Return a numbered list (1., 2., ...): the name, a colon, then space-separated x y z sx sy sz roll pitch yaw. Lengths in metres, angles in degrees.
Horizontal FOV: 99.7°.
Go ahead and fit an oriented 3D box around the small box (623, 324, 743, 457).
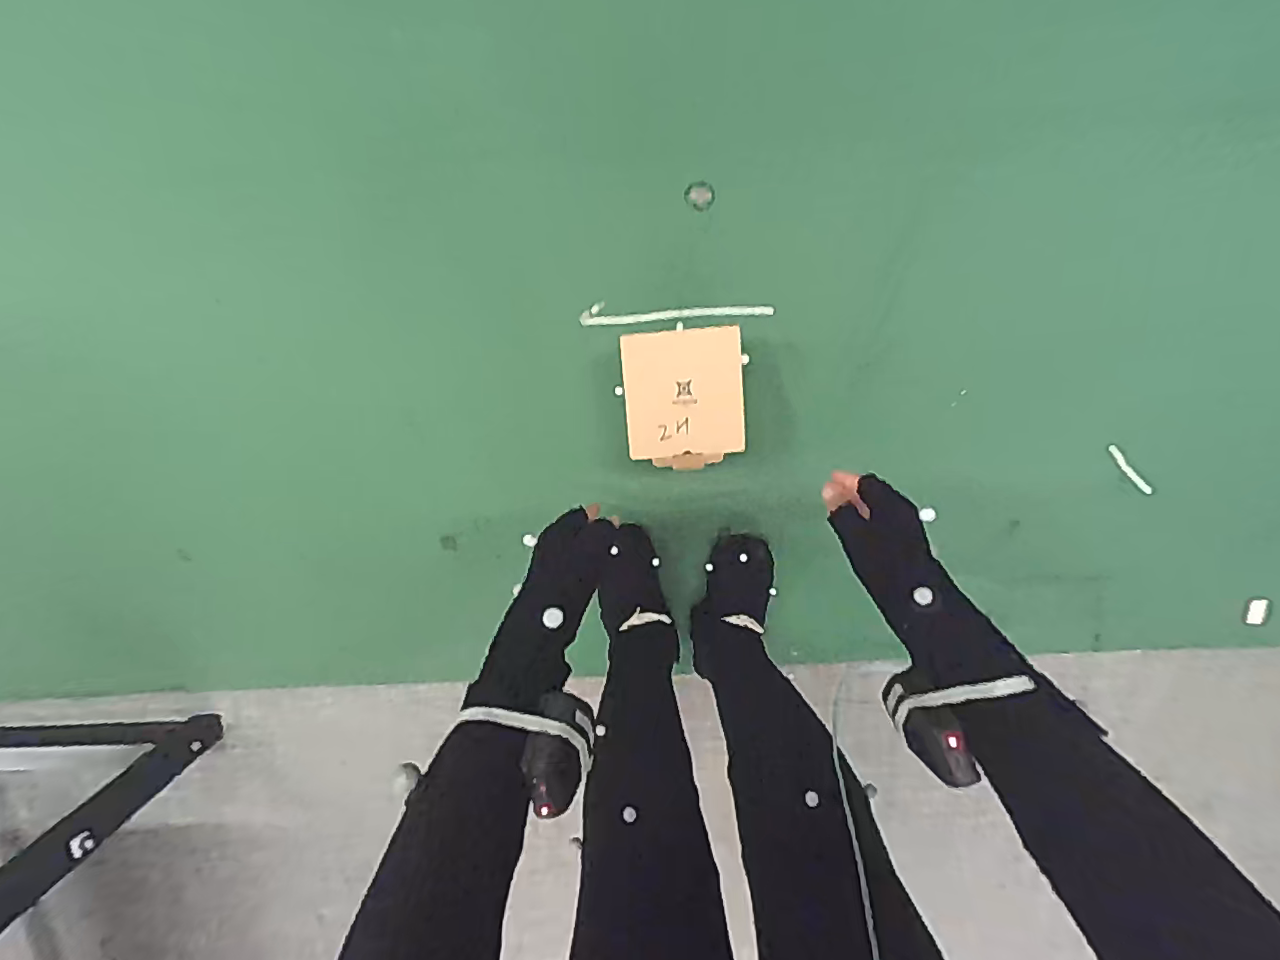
1. small box: 0.062 -0.138 0.832 0.168 0.176 0.179 -4 102 2
